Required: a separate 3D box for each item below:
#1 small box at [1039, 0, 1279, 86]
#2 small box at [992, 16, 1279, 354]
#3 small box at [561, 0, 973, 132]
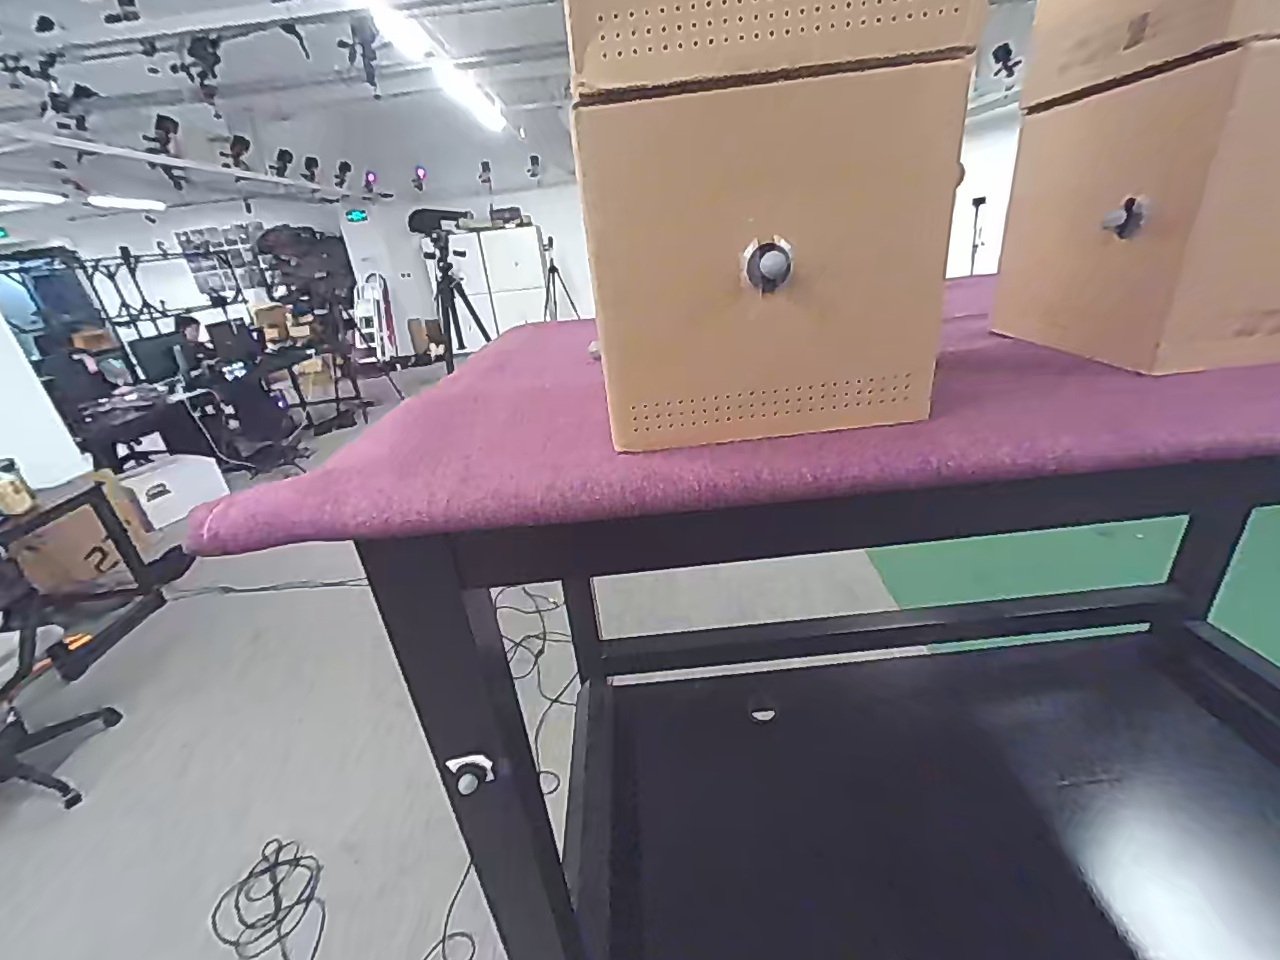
[{"bbox_3d":[0.358,-0.333,0.294,0.179,0.176,0.168,-5,25,2],"label":"small box"},{"bbox_3d":[0.375,-0.183,0.361,0.168,0.176,0.179,-5,24,2],"label":"small box"},{"bbox_3d":[0.043,-0.283,0.261,0.179,0.176,0.168,-8,25,0],"label":"small box"}]
